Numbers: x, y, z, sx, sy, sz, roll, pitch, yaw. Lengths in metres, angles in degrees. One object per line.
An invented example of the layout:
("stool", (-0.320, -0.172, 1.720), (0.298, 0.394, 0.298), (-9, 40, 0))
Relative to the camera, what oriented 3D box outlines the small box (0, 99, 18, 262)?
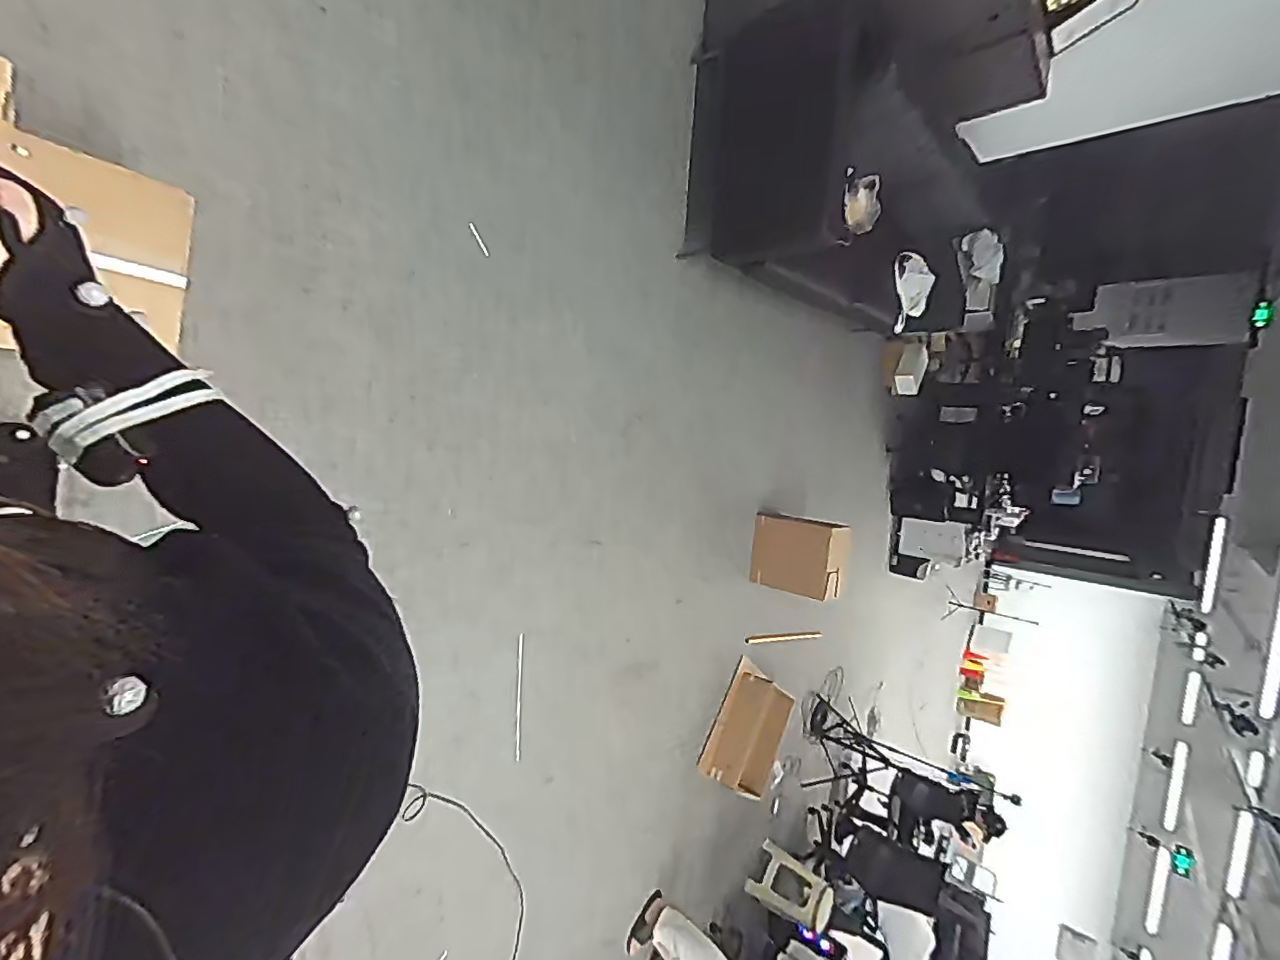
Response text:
("small box", (-0.881, -0.382, 0.650), (0.168, 0.176, 0.179), (4, 91, -50))
